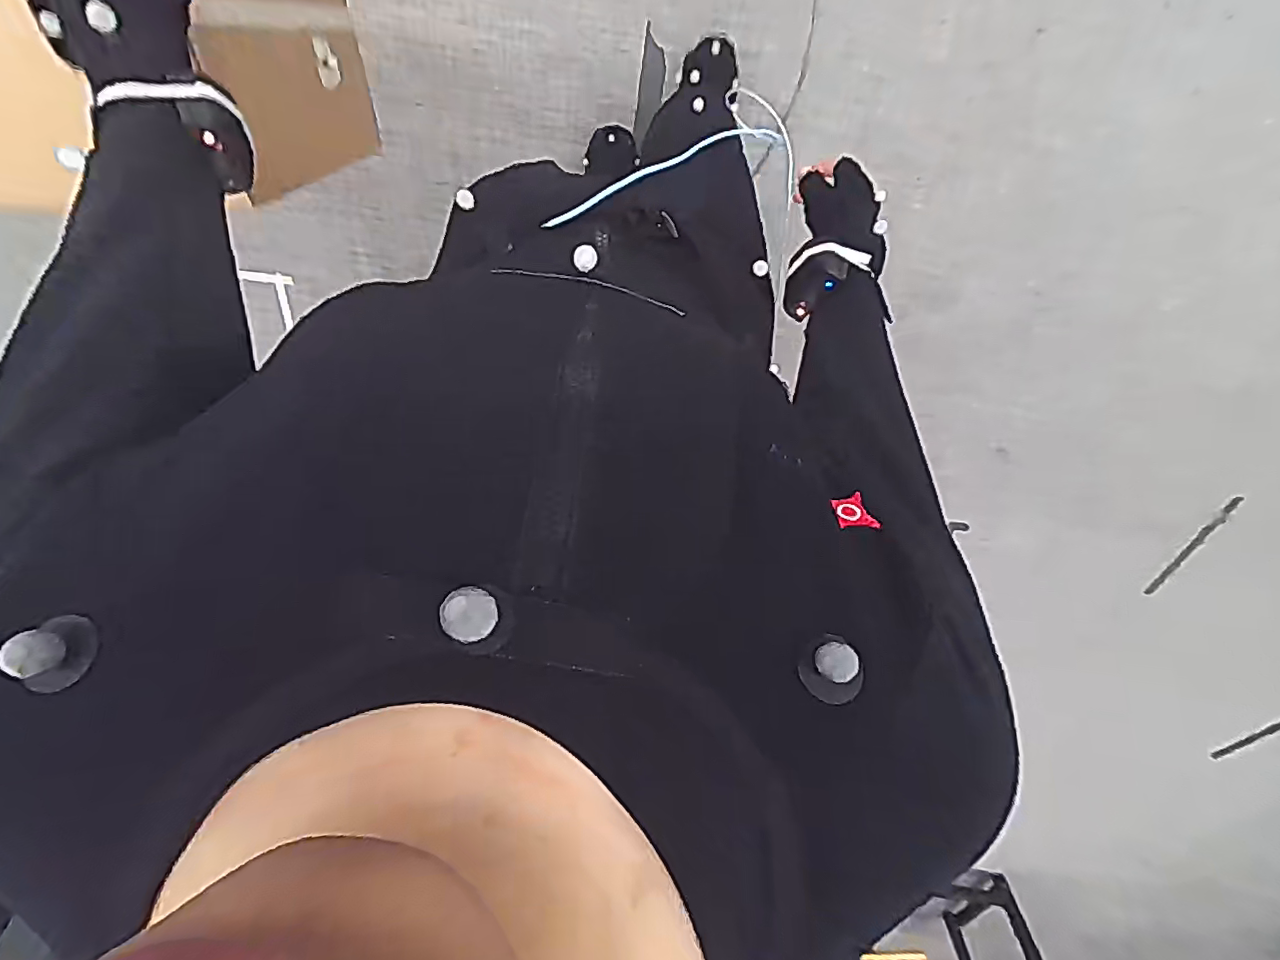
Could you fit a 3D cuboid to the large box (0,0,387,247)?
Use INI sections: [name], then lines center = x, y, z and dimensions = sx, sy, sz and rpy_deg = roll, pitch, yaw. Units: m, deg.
[large box]
center = -0.544, -0.484, 0.610
dimensions = 0.320, 0.408, 0.320
rpy_deg = -3, 128, -3
